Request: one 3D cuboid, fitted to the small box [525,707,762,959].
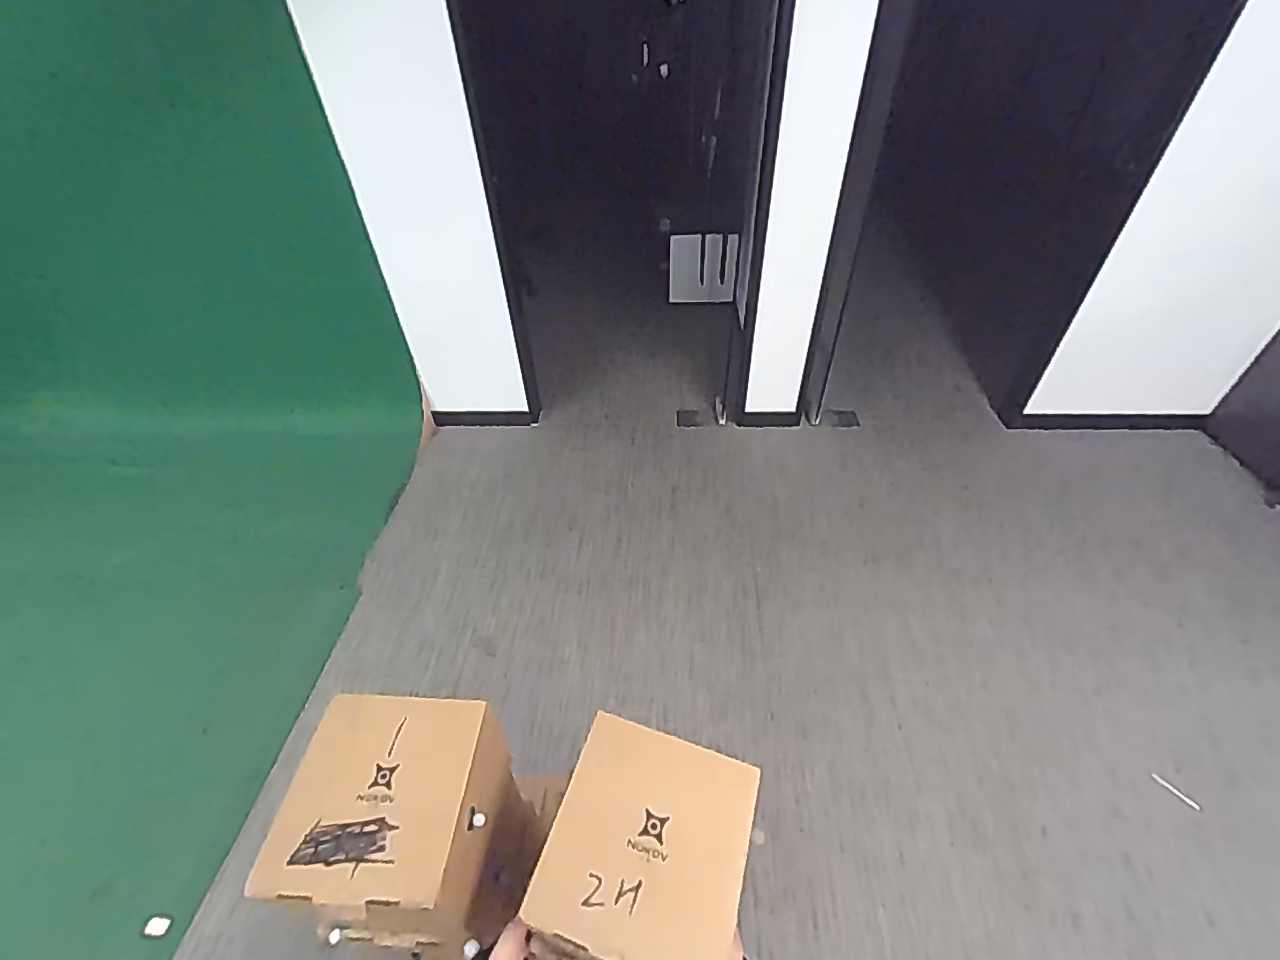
[{"bbox_3d":[0.008,0.359,0.521,0.168,0.176,0.179,14,47,12],"label":"small box"}]

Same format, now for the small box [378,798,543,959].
[{"bbox_3d":[-0.243,0.583,0.790,0.168,0.176,0.179,3,43,3],"label":"small box"}]

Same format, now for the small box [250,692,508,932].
[{"bbox_3d":[-0.243,0.346,0.563,0.168,0.176,0.179,2,42,1],"label":"small box"}]
